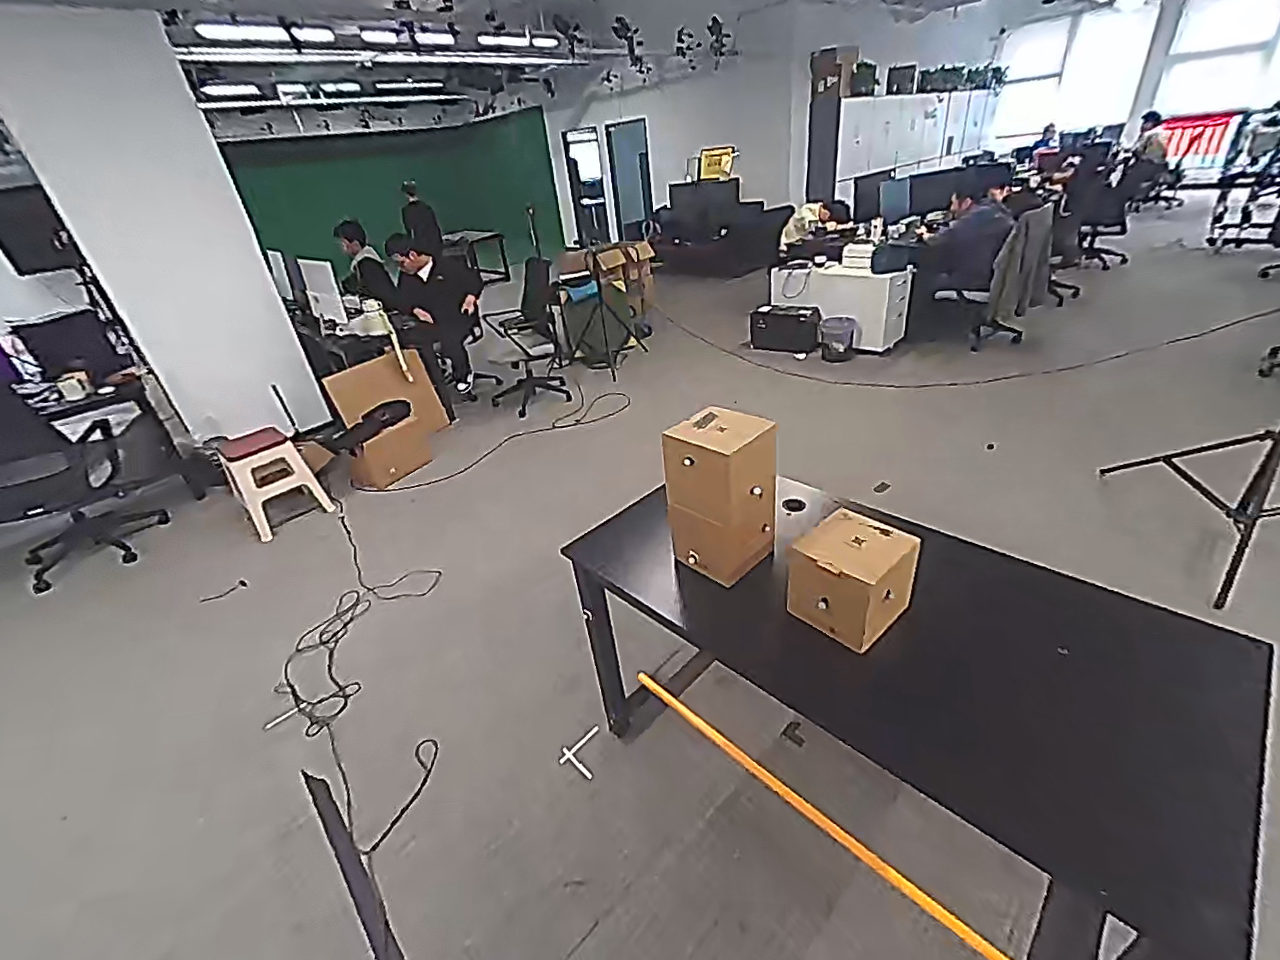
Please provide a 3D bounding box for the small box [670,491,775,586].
[{"bbox_3d":[0.188,0.106,1.227,0.179,0.176,0.168,-32,38,-34],"label":"small box"}]

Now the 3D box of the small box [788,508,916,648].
[{"bbox_3d":[0.403,0.188,1.043,0.179,0.176,0.168,-29,38,-32],"label":"small box"}]

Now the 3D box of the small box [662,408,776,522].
[{"bbox_3d":[0.168,-0.034,1.143,0.179,0.176,0.168,22,42,40],"label":"small box"}]
